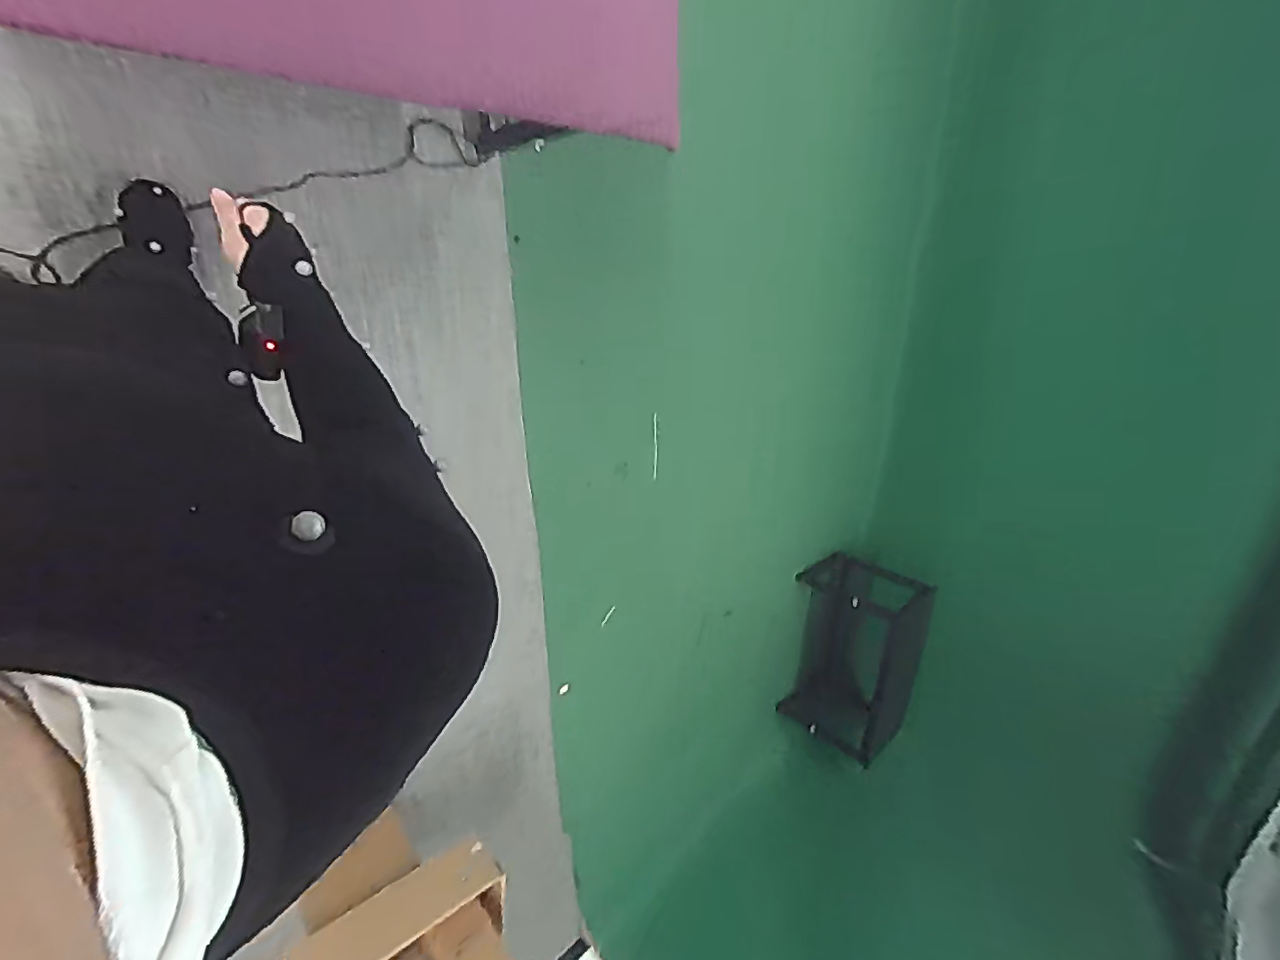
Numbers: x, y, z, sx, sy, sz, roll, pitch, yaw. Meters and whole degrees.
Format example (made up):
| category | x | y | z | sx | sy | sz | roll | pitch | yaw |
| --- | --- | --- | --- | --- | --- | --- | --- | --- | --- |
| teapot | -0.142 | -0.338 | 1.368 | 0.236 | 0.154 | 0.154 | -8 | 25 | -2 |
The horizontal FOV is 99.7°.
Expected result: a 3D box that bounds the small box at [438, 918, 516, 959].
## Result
| category | x | y | z | sx | sy | sz | roll | pitch | yaw |
| --- | --- | --- | --- | --- | --- | --- | --- | --- | --- |
| small box | -0.468 | 1.440 | 1.566 | 0.168 | 0.176 | 0.179 | -16 | 118 | -42 |
